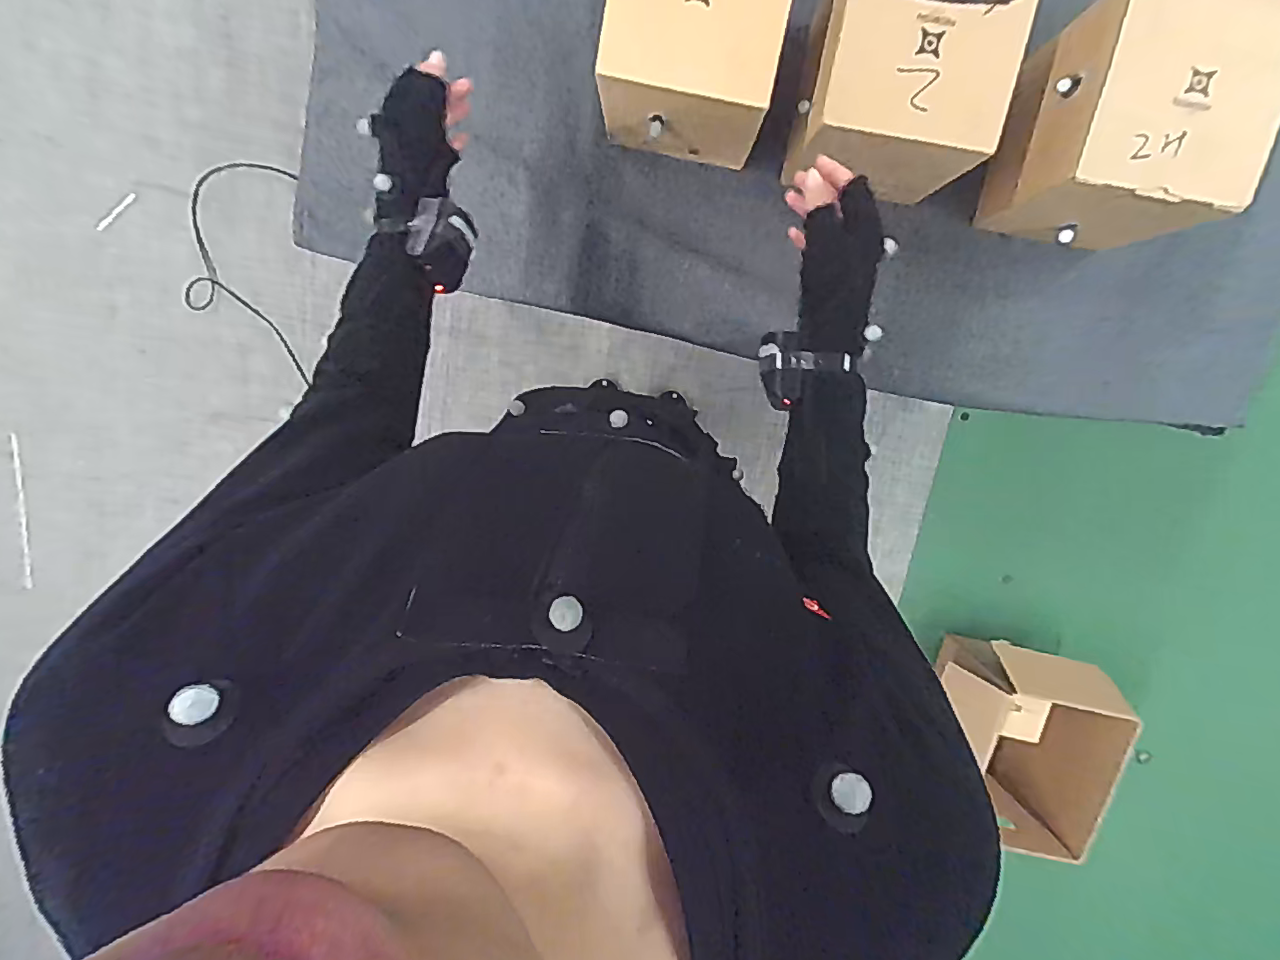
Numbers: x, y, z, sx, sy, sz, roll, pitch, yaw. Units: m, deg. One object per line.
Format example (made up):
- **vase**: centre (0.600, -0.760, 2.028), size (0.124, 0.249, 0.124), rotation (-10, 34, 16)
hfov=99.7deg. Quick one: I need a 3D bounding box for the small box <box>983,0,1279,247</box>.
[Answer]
- **small box**: centre (0.500, -0.365, 0.563), size (0.168, 0.176, 0.179), rotation (11, 102, 0)
